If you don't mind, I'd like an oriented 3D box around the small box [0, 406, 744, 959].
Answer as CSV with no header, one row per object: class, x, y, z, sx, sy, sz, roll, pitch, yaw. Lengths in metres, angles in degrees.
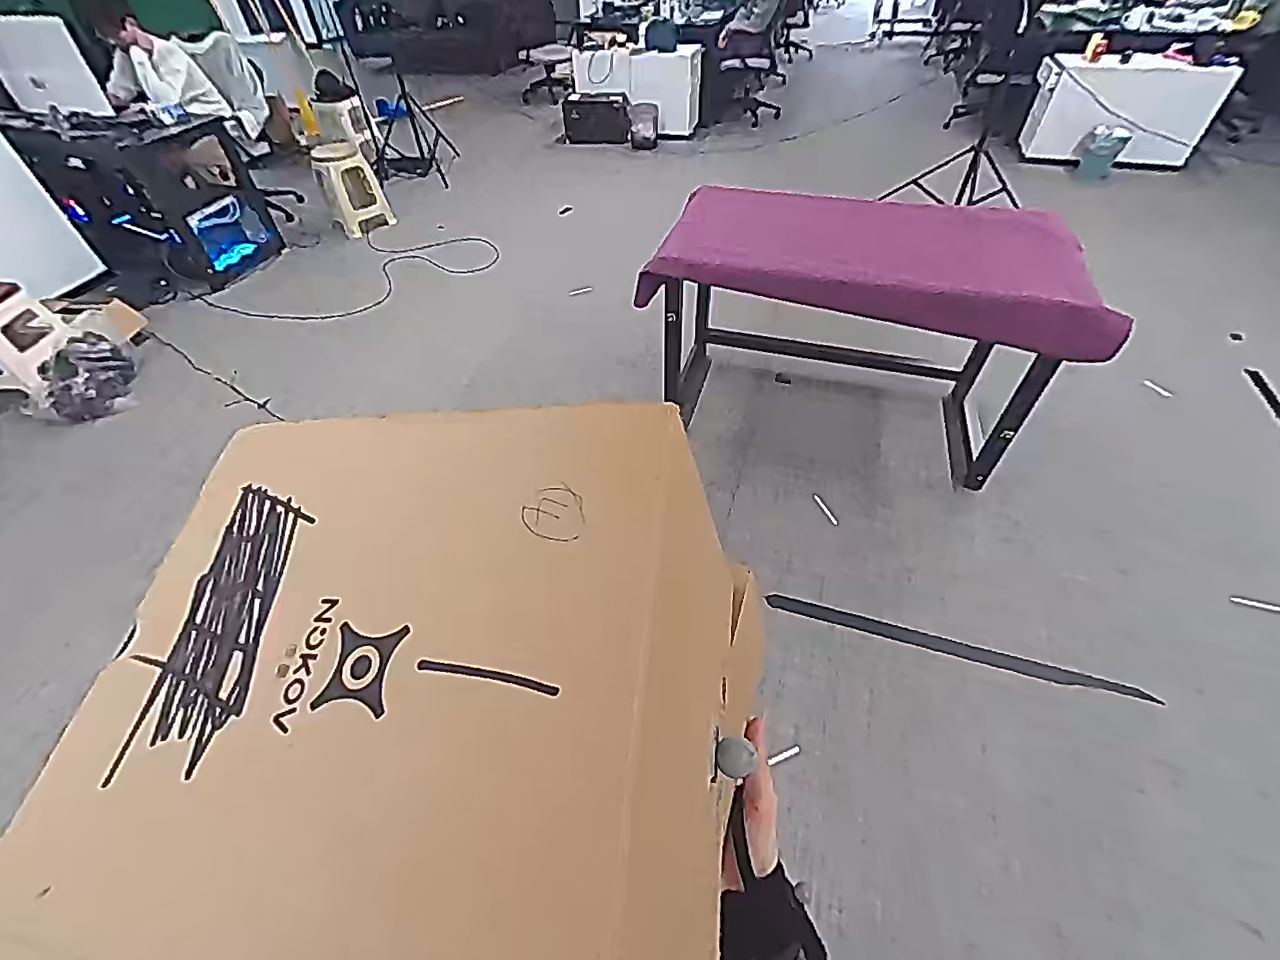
small box,-0.056,0.089,0.217,0.179,0.176,0.168,-1,60,15
